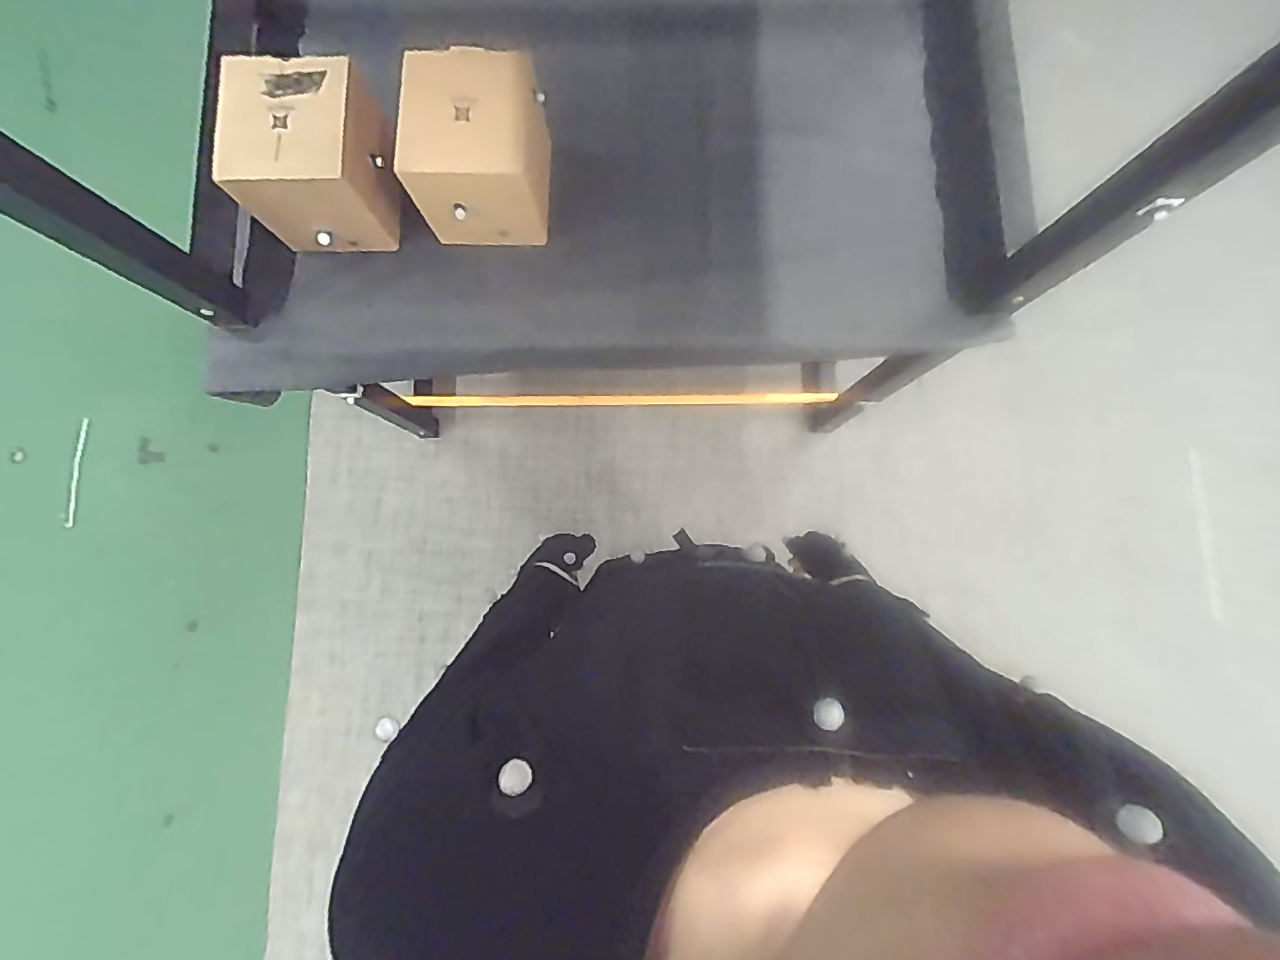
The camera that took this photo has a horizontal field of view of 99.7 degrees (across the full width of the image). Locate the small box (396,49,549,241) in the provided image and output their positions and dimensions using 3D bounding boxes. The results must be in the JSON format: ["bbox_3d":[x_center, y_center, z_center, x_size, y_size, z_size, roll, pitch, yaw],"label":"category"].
[{"bbox_3d":[-0.226,-0.465,0.773,0.168,0.176,0.179,1,82,0],"label":"small box"}]

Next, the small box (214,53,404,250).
[{"bbox_3d":[-0.453,-0.456,0.769,0.168,0.176,0.179,0,83,0],"label":"small box"}]
